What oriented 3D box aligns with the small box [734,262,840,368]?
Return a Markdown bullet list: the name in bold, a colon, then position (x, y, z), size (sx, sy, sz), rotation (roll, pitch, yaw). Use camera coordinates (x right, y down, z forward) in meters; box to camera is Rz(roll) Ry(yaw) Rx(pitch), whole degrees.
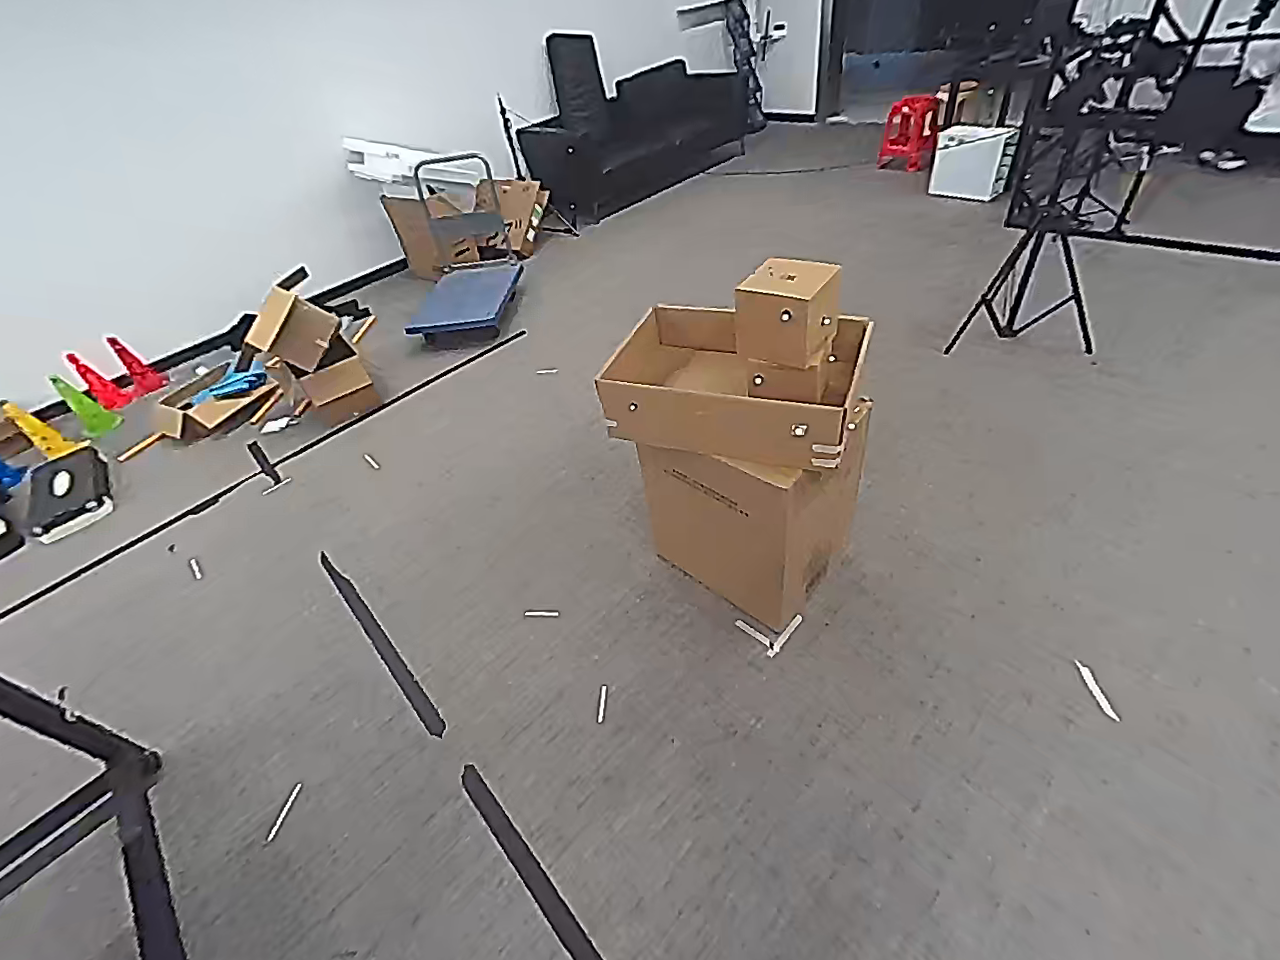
- **small box**: position (0.335, -0.375, 1.233), size (0.179, 0.176, 0.168), rotation (22, 53, 33)
